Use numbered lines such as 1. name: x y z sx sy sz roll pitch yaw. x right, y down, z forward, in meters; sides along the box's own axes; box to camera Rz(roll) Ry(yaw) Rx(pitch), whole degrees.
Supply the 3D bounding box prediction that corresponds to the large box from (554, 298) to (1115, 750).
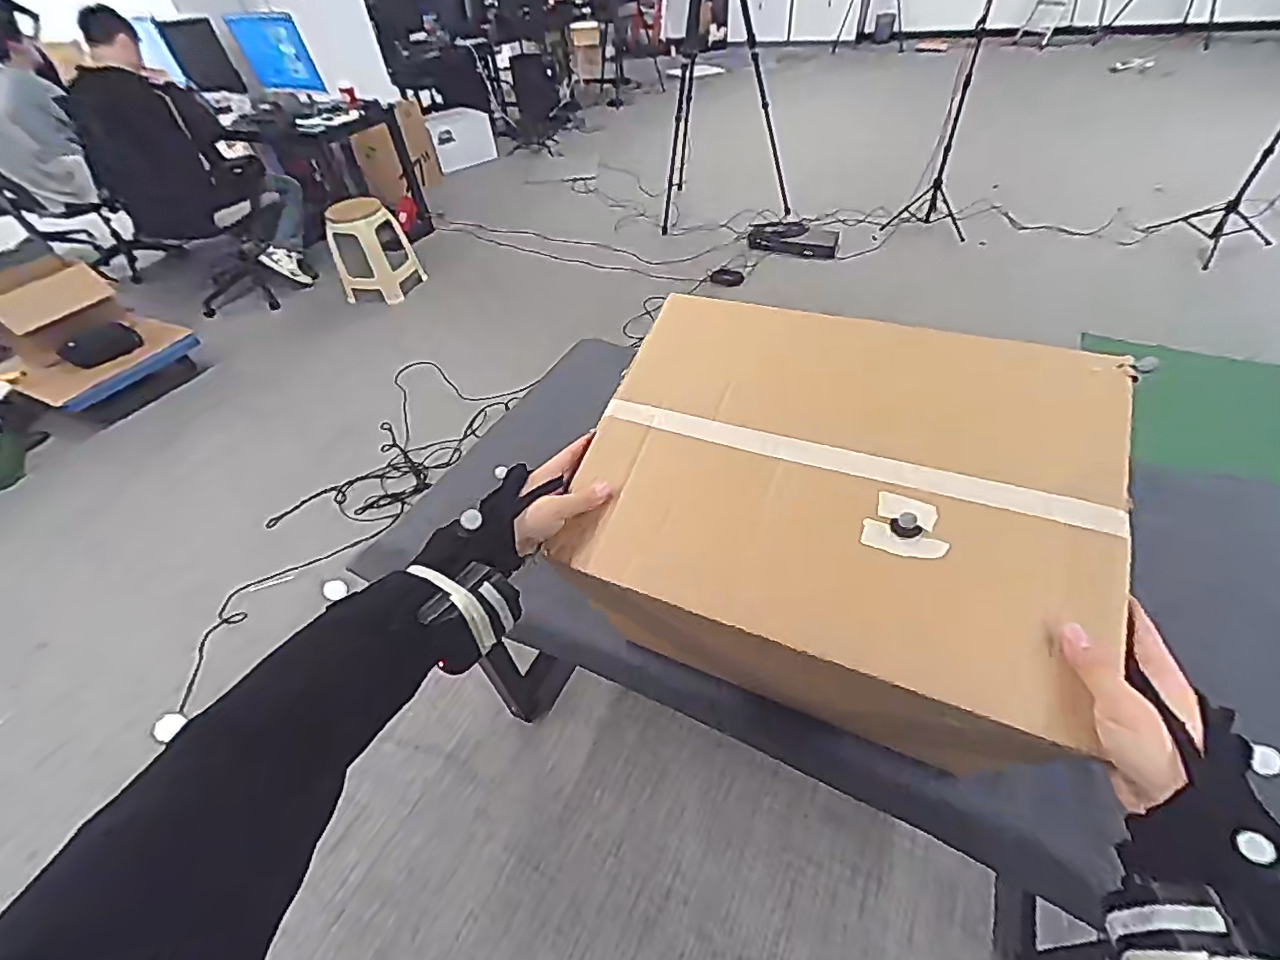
1. large box: 0.185 0.049 0.582 0.408 0.320 0.320 15 66 20
